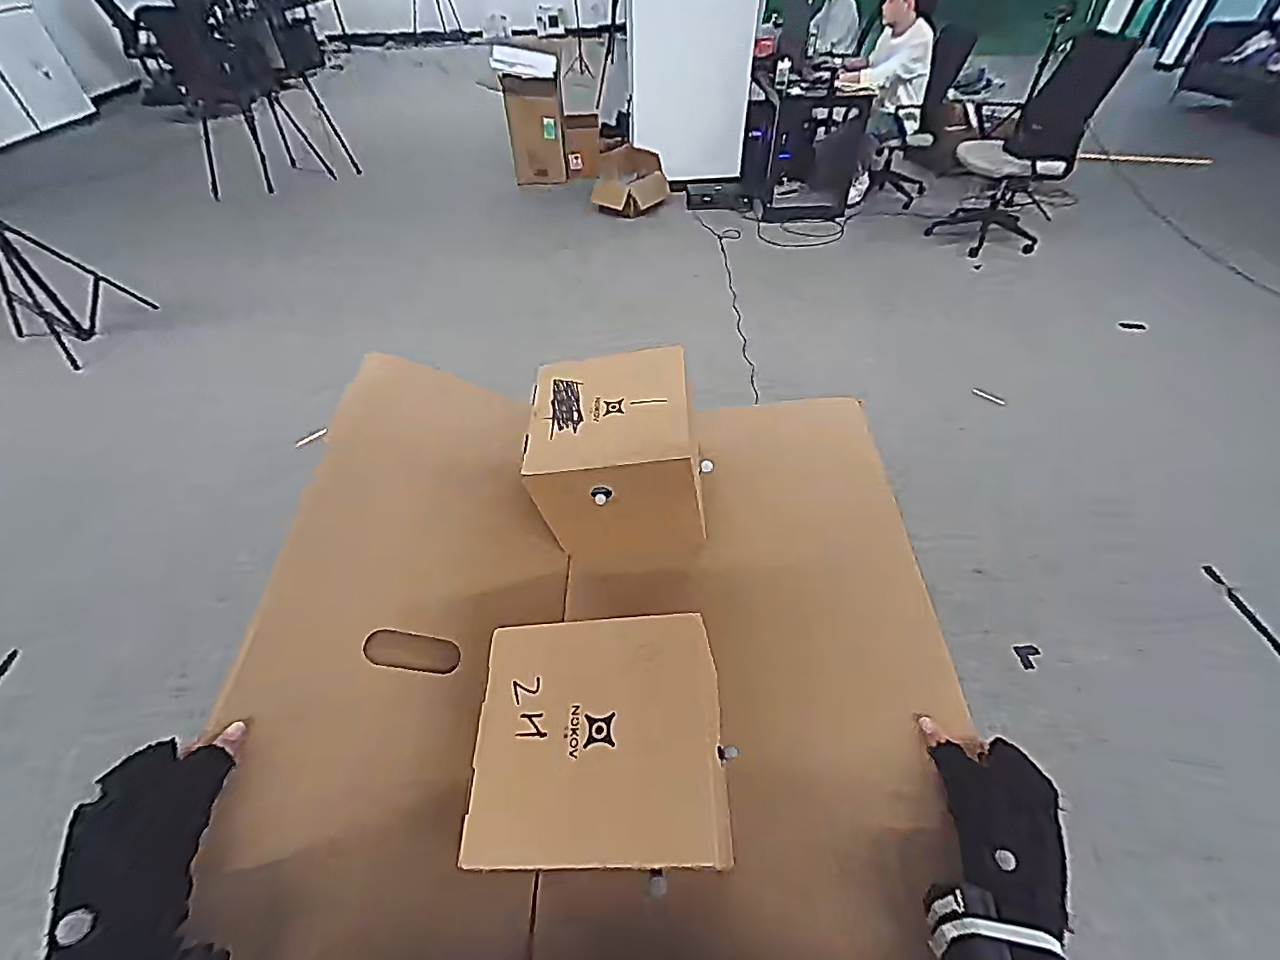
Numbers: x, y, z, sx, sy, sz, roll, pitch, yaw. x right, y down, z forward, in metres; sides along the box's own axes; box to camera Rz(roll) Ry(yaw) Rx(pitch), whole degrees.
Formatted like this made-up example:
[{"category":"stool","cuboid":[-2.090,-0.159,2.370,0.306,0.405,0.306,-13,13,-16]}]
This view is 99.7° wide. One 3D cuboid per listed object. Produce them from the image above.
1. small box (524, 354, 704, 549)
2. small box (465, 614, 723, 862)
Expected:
[{"category":"small box","cuboid":[-0.021,-0.026,0.659,0.179,0.176,0.168,-6,53,8]},{"category":"small box","cuboid":[-0.021,0.228,0.471,0.179,0.176,0.168,-6,53,9]}]
